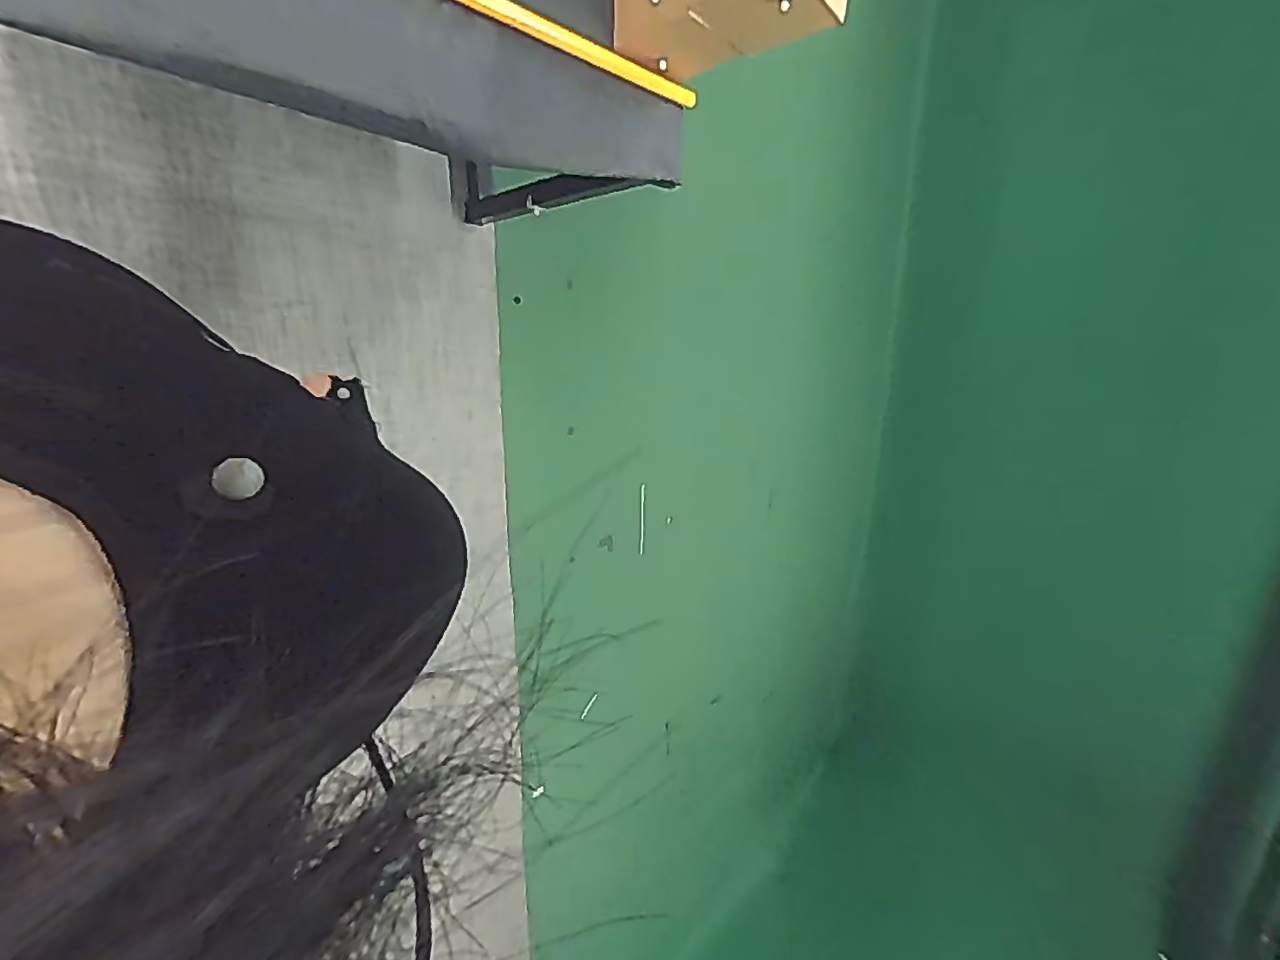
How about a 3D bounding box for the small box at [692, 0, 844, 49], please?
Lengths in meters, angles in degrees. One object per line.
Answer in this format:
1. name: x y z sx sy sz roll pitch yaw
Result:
1. small box: 0.188 -0.773 0.784 0.179 0.176 0.168 -8 108 -46
